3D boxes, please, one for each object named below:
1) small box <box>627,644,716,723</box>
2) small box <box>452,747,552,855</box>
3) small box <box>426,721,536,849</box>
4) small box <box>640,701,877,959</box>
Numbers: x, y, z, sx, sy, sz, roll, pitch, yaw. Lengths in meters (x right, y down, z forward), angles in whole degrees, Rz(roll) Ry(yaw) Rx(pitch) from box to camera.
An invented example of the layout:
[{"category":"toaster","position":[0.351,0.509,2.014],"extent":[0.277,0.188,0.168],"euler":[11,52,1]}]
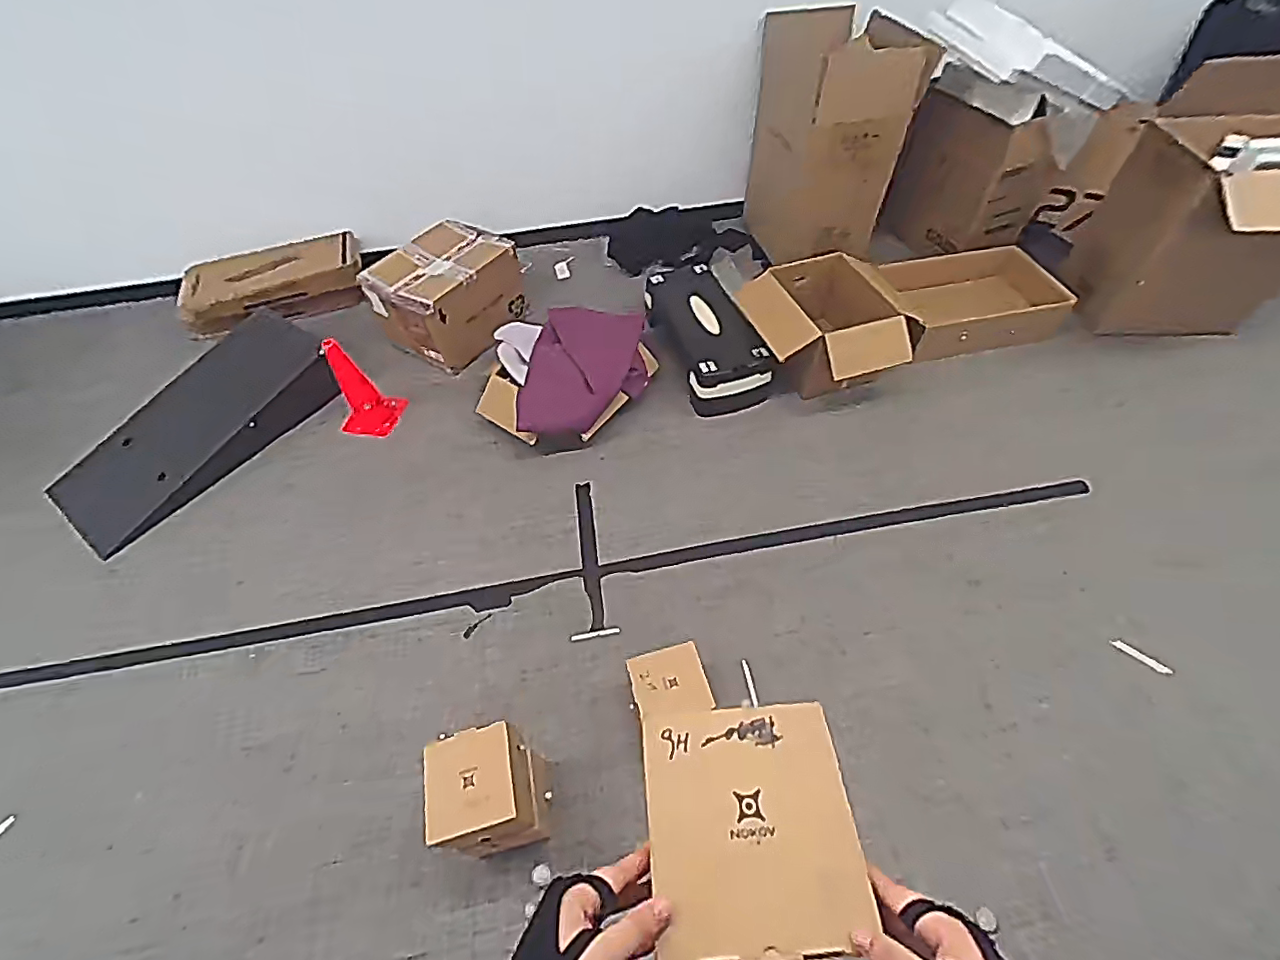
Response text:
[{"category":"small box","position":[0.074,0.528,1.330],"extent":[0.179,0.176,0.168],"euler":[-14,53,-7]},{"category":"small box","position":[-0.305,0.720,1.207],"extent":[0.179,0.176,0.168],"euler":[-11,53,-5]},{"category":"small box","position":[-0.316,0.614,1.084],"extent":[0.168,0.176,0.179],"euler":[-15,55,-6]},{"category":"small box","position":[0.090,0.324,0.500],"extent":[0.168,0.176,0.179],"euler":[-4,50,0]}]
